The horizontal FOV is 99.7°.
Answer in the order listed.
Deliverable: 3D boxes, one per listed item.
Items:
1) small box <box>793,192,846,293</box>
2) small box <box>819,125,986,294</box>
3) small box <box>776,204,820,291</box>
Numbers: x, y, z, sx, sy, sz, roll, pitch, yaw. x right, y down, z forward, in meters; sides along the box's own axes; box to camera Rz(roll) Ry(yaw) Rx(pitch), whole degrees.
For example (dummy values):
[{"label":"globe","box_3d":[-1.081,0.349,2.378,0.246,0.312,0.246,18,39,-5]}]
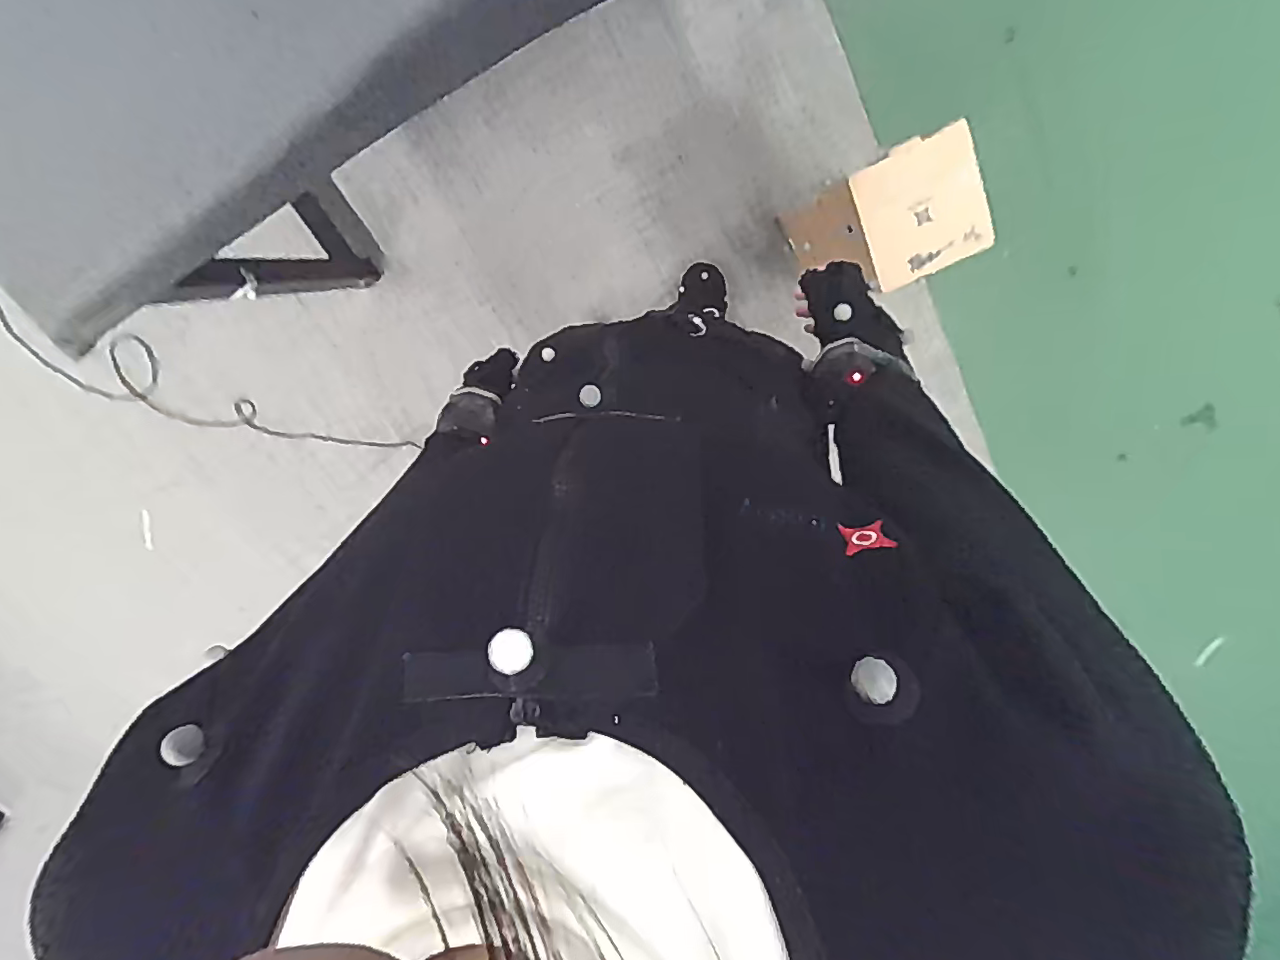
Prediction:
[{"label":"small box","box_3d":[0.403,-0.464,0.998,0.179,0.176,0.168,-22,107,13]},{"label":"small box","box_3d":[0.397,-0.405,0.846,0.168,0.176,0.179,-22,106,12]},{"label":"small box","box_3d":[0.409,-0.522,1.152,0.179,0.176,0.168,-24,107,14]}]
